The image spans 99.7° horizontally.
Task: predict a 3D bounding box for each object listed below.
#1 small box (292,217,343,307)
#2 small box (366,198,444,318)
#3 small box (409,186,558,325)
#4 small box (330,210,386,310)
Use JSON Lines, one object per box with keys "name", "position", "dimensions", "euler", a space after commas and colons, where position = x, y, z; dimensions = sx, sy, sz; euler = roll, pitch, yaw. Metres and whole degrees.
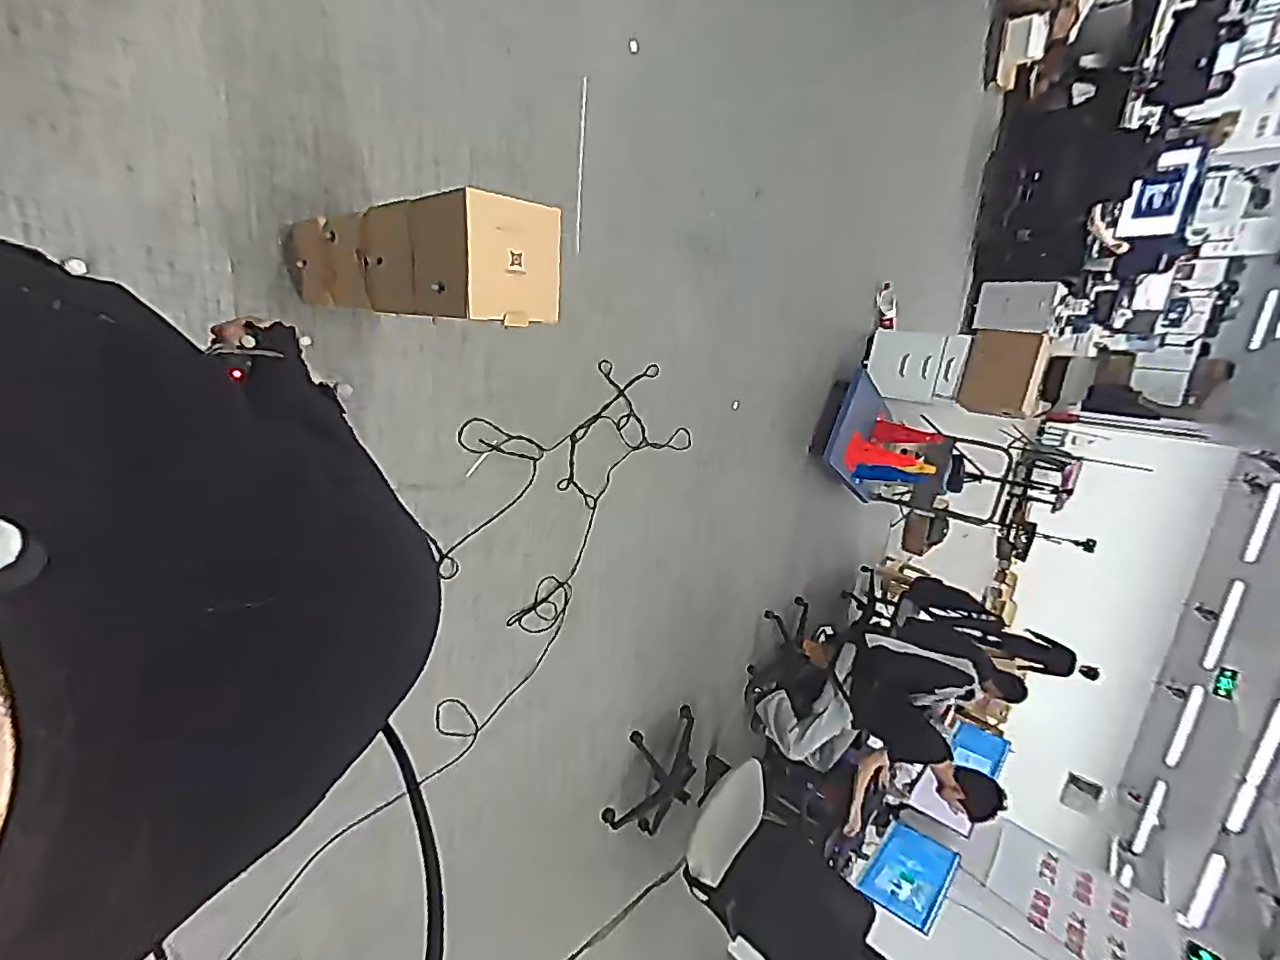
{"name": "small box", "position": [-0.616, -0.457, 1.161], "dimensions": [0.179, 0.176, 0.168], "euler": [-15, 114, -44]}
{"name": "small box", "position": [-0.368, -0.384, 0.961], "dimensions": [0.168, 0.176, 0.179], "euler": [-14, 114, -45]}
{"name": "small box", "position": [-0.247, -0.344, 0.857], "dimensions": [0.168, 0.176, 0.179], "euler": [-14, 113, -46]}
{"name": "small box", "position": [-0.489, -0.420, 1.064], "dimensions": [0.179, 0.176, 0.168], "euler": [-15, 115, -46]}
